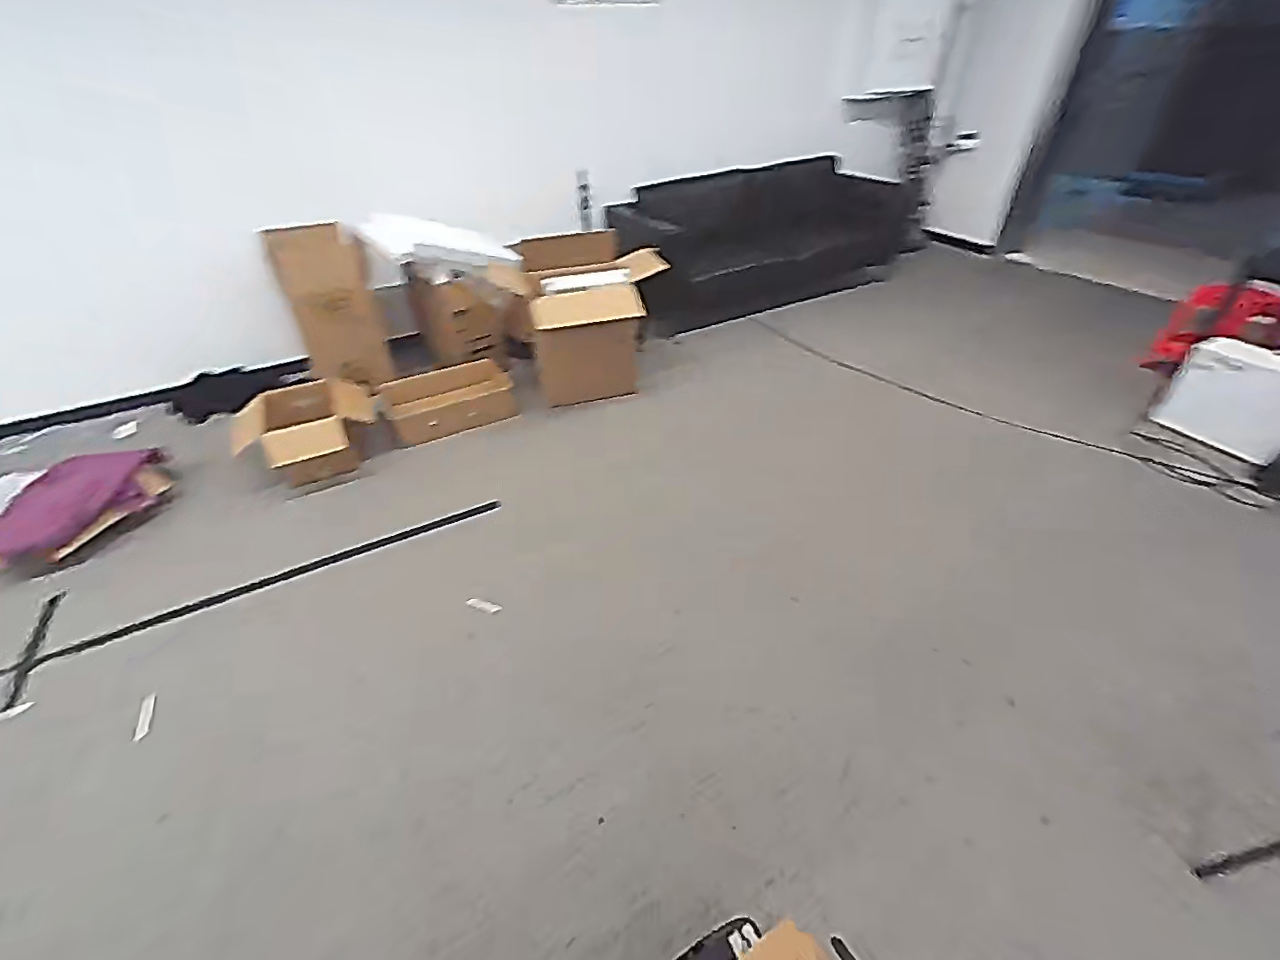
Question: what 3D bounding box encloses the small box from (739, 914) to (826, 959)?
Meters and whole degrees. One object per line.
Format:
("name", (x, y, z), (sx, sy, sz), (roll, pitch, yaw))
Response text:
("small box", (0.197, 0.774, 0.763), (0.179, 0.176, 0.168), (-22, 42, -23))
